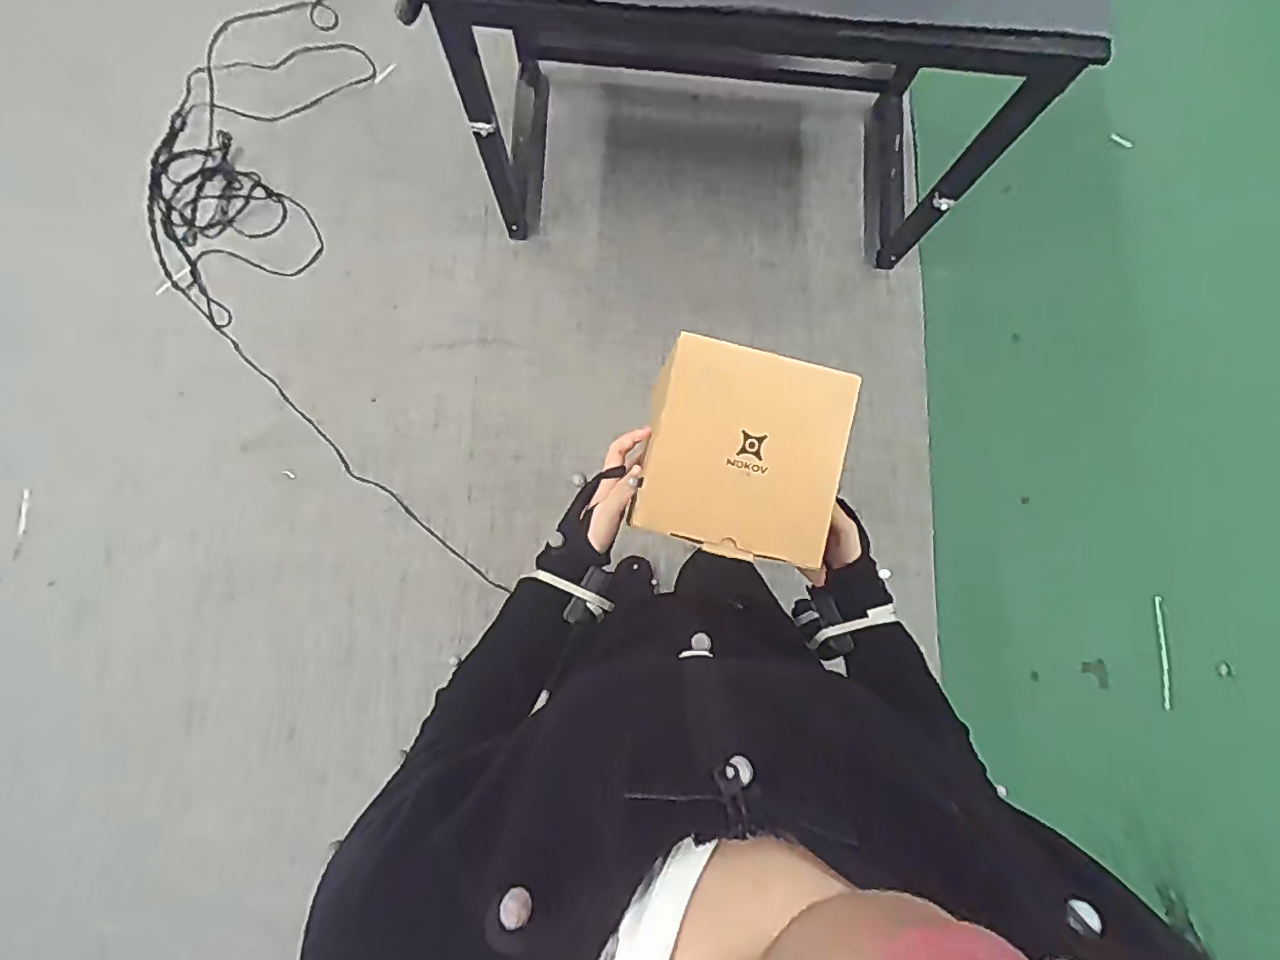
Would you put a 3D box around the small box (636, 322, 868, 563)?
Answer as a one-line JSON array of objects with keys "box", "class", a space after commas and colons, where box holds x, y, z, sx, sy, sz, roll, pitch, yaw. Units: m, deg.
[{"box": [0.094, -0.028, 0.534, 0.168, 0.176, 0.179, 13, 87, -3], "class": "small box"}]
